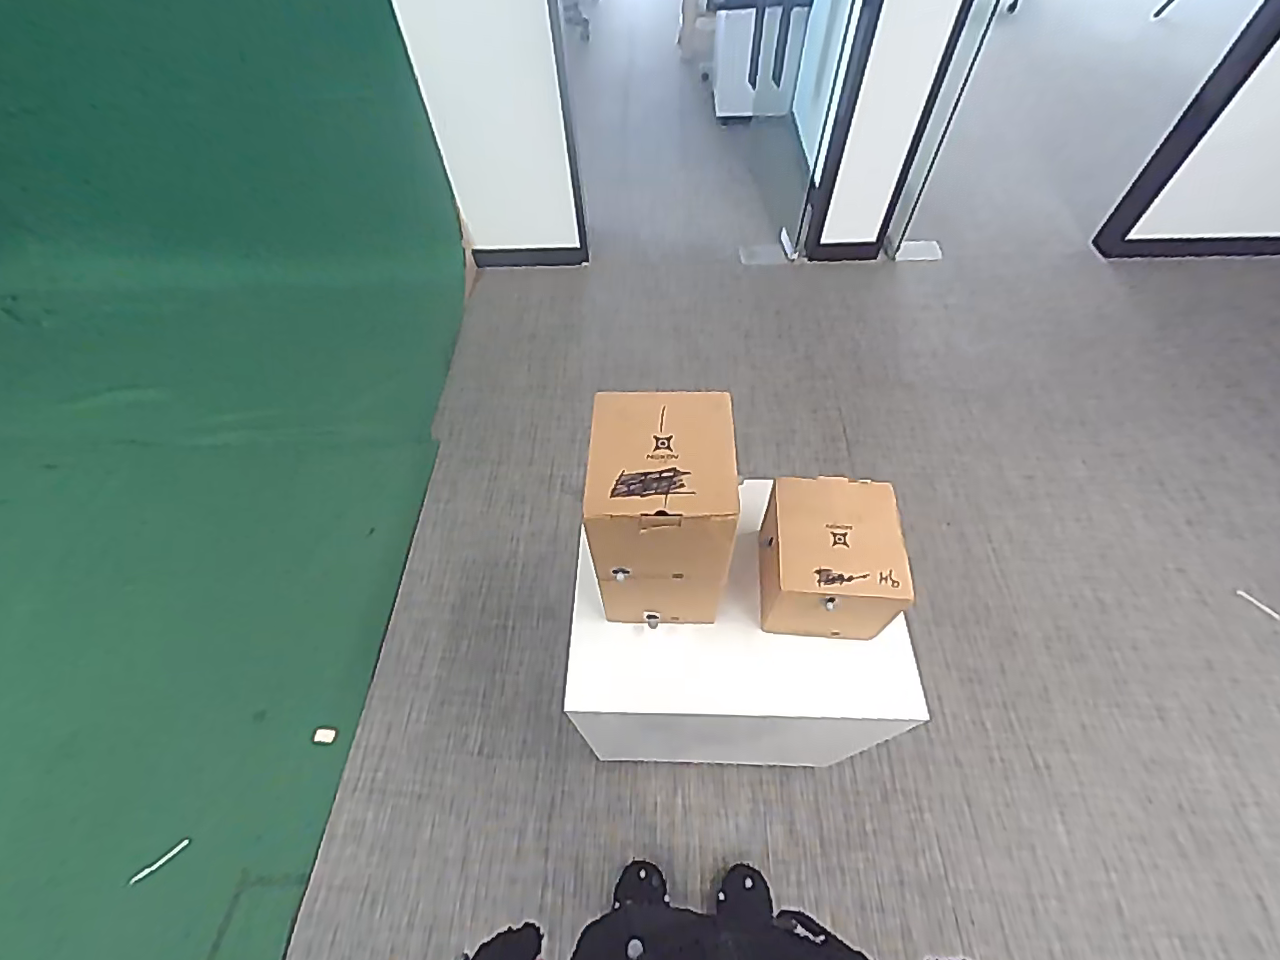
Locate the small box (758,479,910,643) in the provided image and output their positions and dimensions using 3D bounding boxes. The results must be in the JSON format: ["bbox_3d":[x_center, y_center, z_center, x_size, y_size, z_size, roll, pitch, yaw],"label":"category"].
[{"bbox_3d":[0.267,0.121,0.793,0.168,0.176,0.179,4,56,5],"label":"small box"}]

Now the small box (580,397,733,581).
[{"bbox_3d":[0.025,0.016,0.678,0.168,0.176,0.179,1,55,3],"label":"small box"}]

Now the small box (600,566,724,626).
[{"bbox_3d":[0.032,0.108,0.814,0.168,0.176,0.179,-2,57,3],"label":"small box"}]
